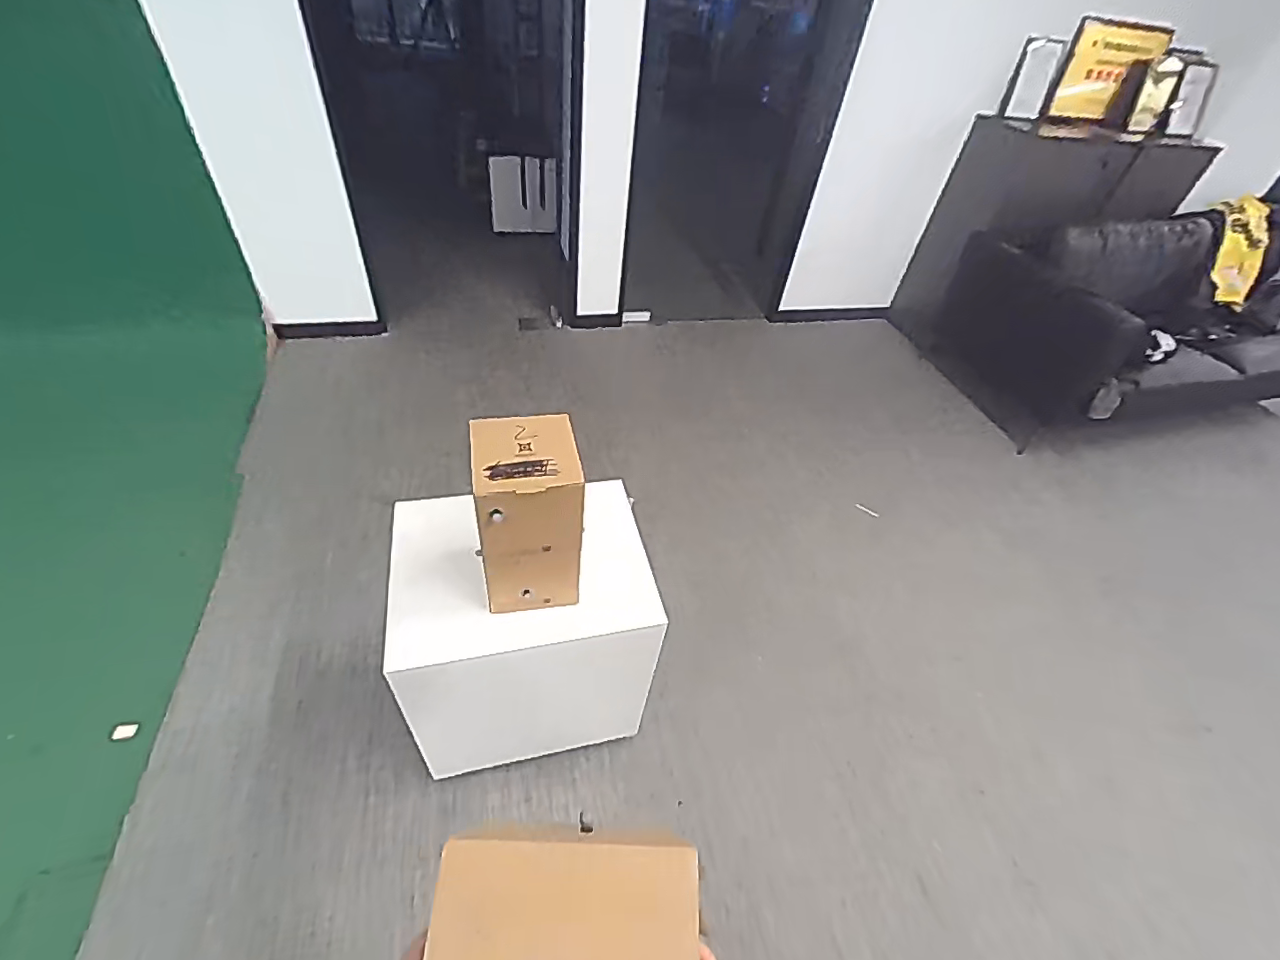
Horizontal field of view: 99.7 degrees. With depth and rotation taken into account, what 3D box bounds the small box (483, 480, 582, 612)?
[{"bbox_3d":[-0.205,0.122,1.018,0.168,0.176,0.179,-4,44,-13],"label":"small box"}]
